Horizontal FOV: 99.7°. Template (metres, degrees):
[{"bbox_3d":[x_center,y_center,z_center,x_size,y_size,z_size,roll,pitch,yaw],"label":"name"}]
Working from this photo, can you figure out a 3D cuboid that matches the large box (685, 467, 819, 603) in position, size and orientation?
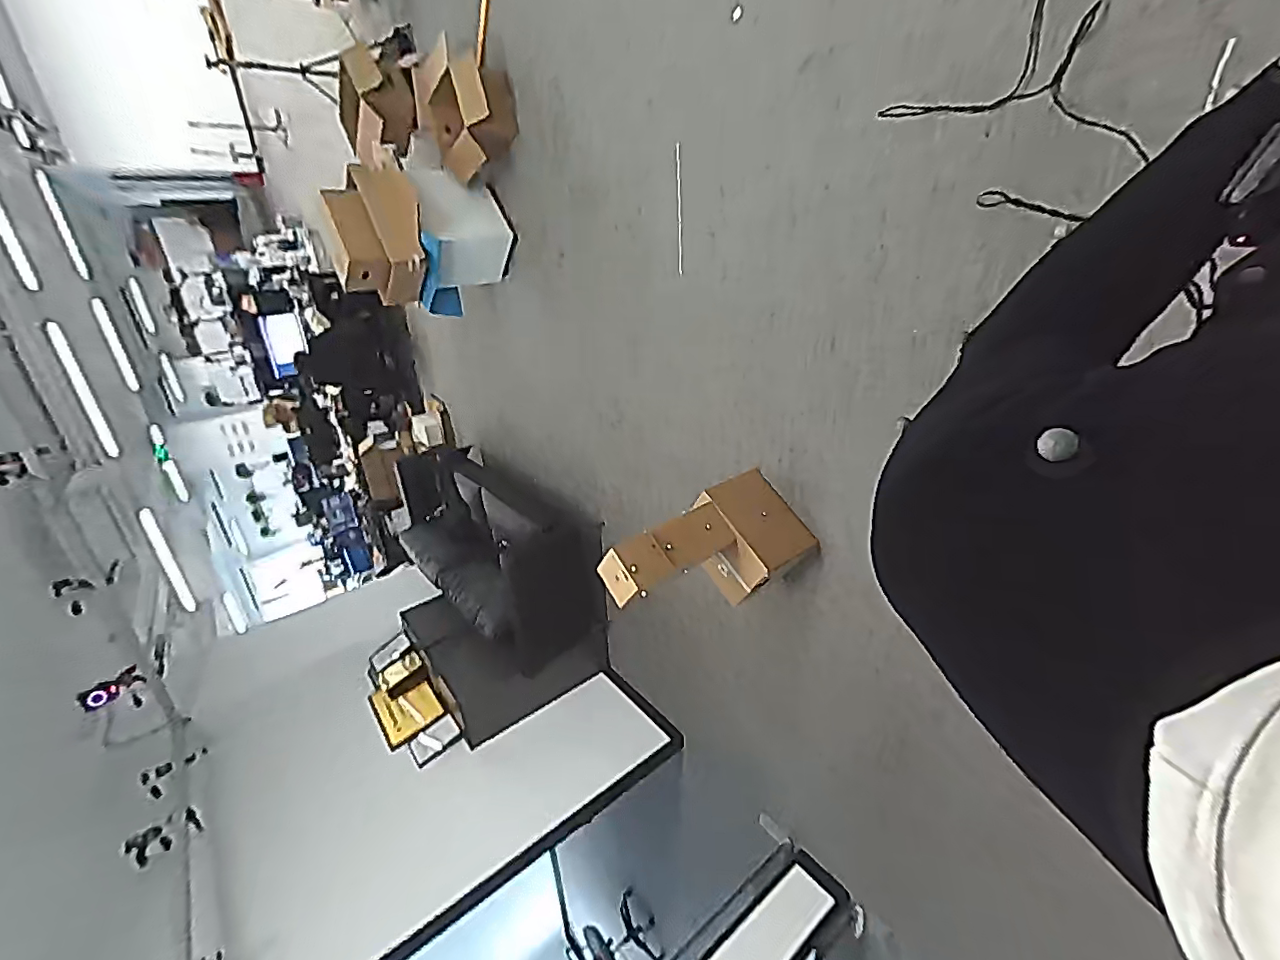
[{"bbox_3d":[0.443,0.218,2.232,0.408,0.320,0.320,52,144,22],"label":"large box"}]

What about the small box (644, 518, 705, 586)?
[{"bbox_3d":[0.105,0.257,1.990,0.179,0.176,0.168,54,143,19],"label":"small box"}]

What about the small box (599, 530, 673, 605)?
[{"bbox_3d":[-0.013,0.304,1.885,0.168,0.176,0.179,55,144,17],"label":"small box"}]
